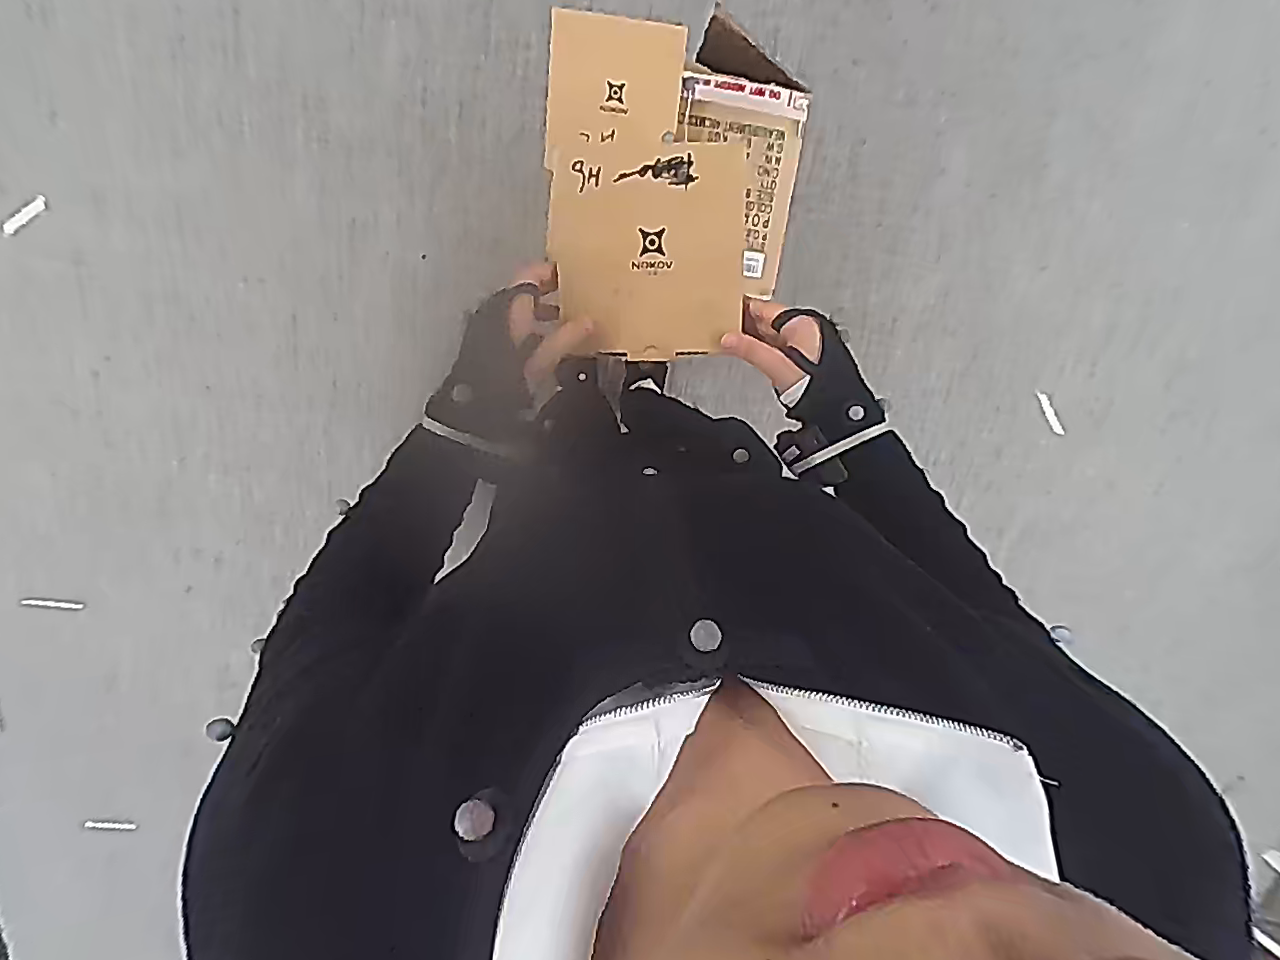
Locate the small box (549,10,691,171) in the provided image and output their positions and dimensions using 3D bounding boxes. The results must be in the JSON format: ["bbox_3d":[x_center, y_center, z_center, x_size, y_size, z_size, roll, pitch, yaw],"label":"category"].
[{"bbox_3d":[-0.029,-0.500,0.754,0.168,0.176,0.179,6,109,-3],"label":"small box"}]

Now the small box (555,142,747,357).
[{"bbox_3d":[0.009,-0.221,0.553,0.168,0.176,0.179,-2,105,-1],"label":"small box"}]
